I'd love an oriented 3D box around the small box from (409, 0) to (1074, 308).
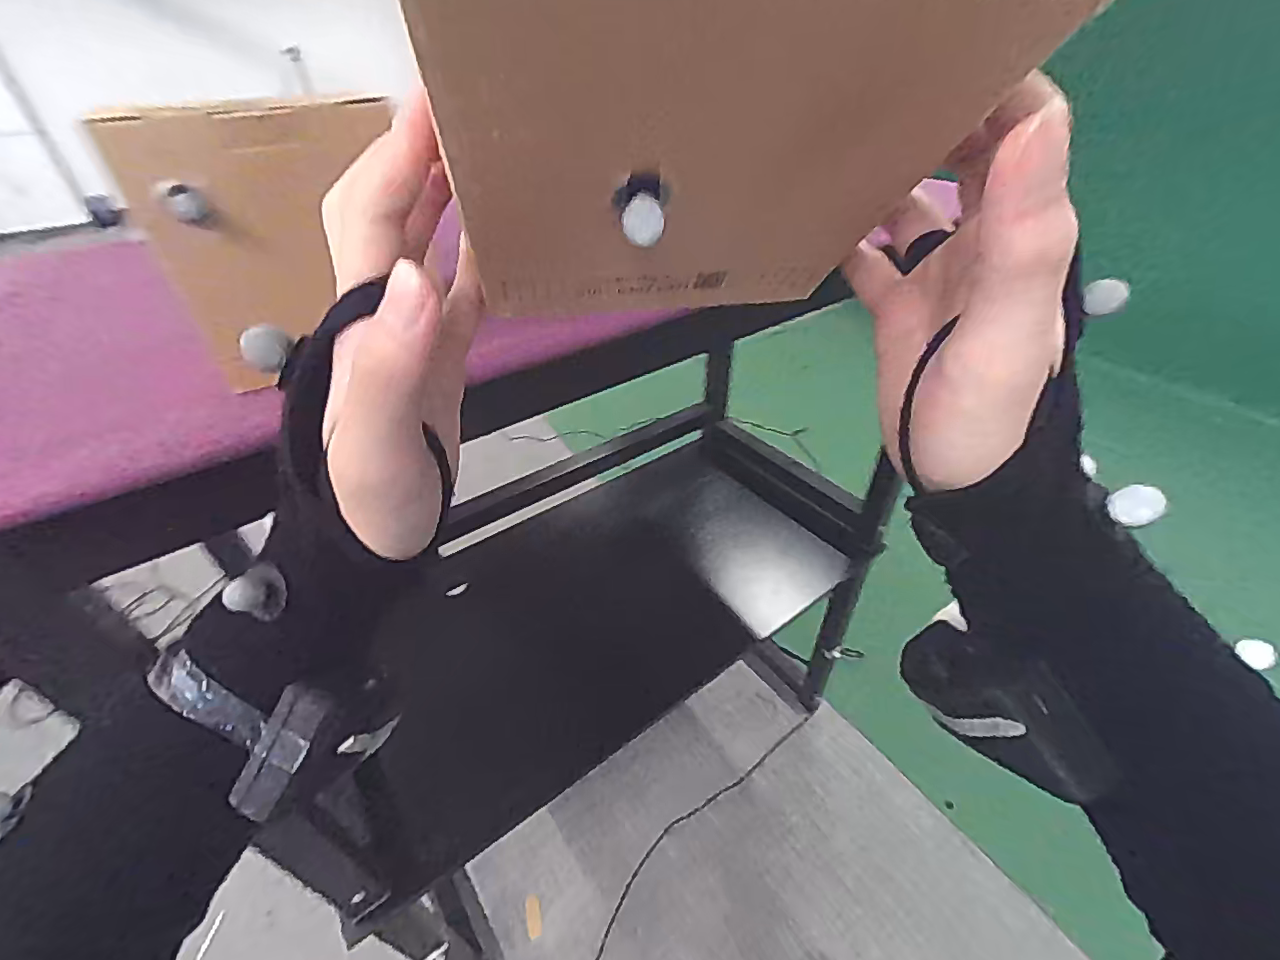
[{"bbox_3d":[0.012,-0.181,0.215,0.168,0.176,0.179,-6,84,-8],"label":"small box"}]
